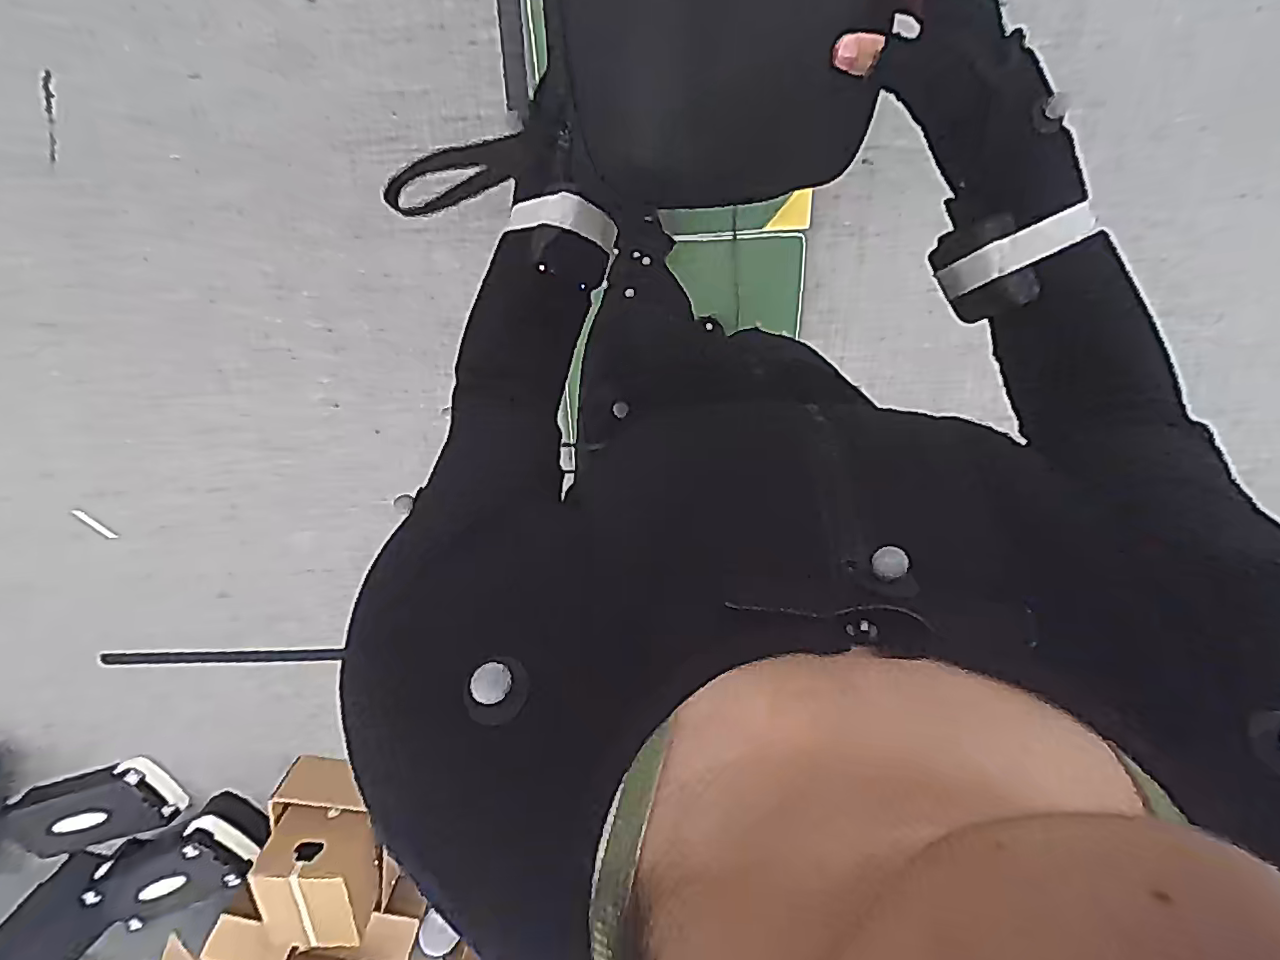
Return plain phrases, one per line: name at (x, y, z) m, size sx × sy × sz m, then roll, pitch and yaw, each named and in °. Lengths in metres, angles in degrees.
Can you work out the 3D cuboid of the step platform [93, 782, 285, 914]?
step platform at (-1.793, 1.470, 2.152) m, size 0.684 × 0.204 × 0.286 m, roll -29°, pitch 112°, yaw 12°
